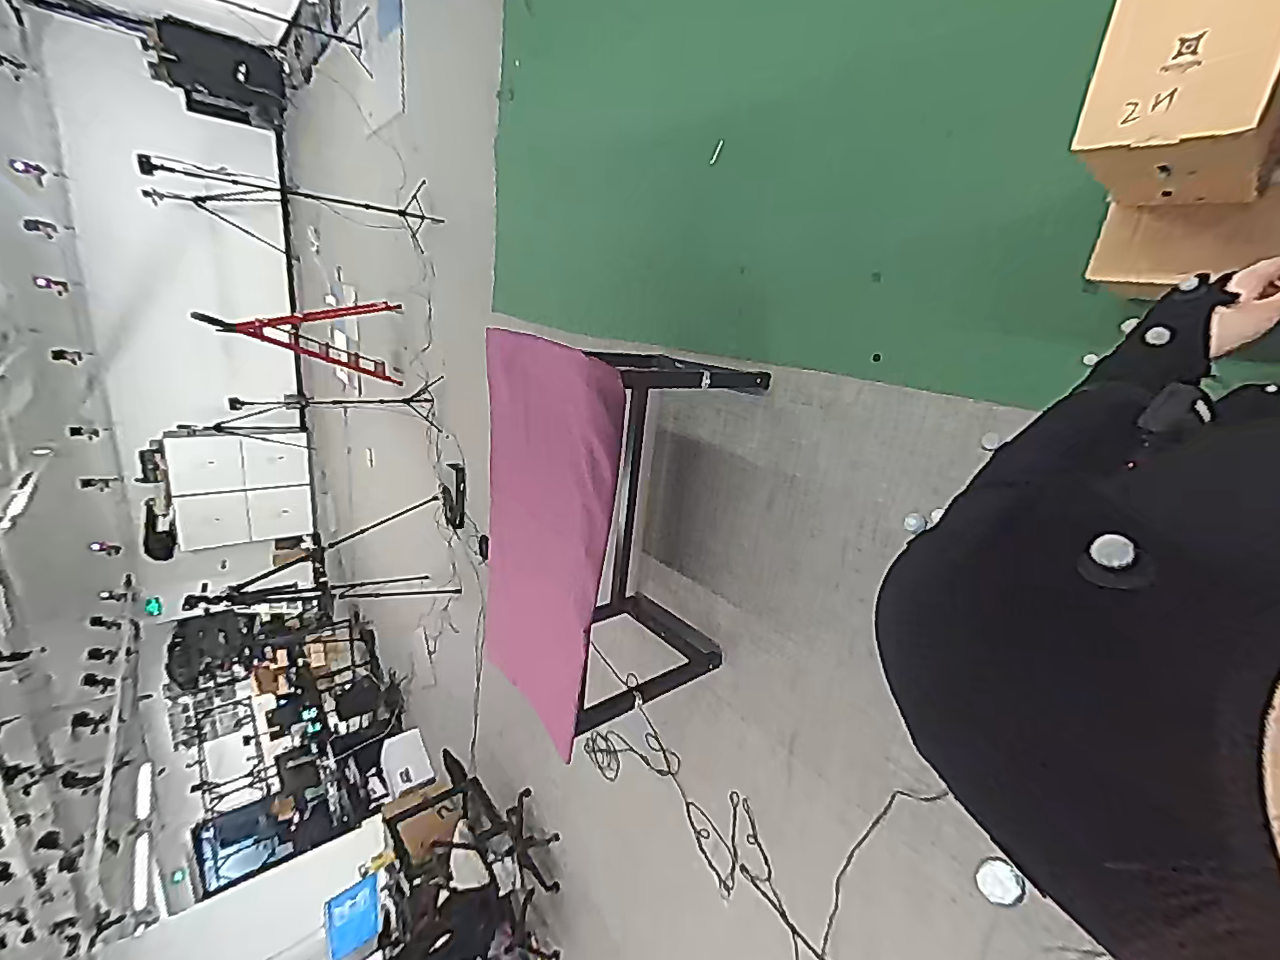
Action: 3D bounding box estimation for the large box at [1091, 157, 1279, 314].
[{"bbox_3d":[1.039,-0.437,0.854,0.408,0.320,0.320,26,116,45],"label":"large box"}]

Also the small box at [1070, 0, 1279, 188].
[{"bbox_3d":[0.667,-0.475,0.655,0.168,0.176,0.179,26,115,46],"label":"small box"}]

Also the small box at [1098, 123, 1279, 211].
[{"bbox_3d":[0.792,-0.494,0.761,0.168,0.176,0.179,27,116,45],"label":"small box"}]
